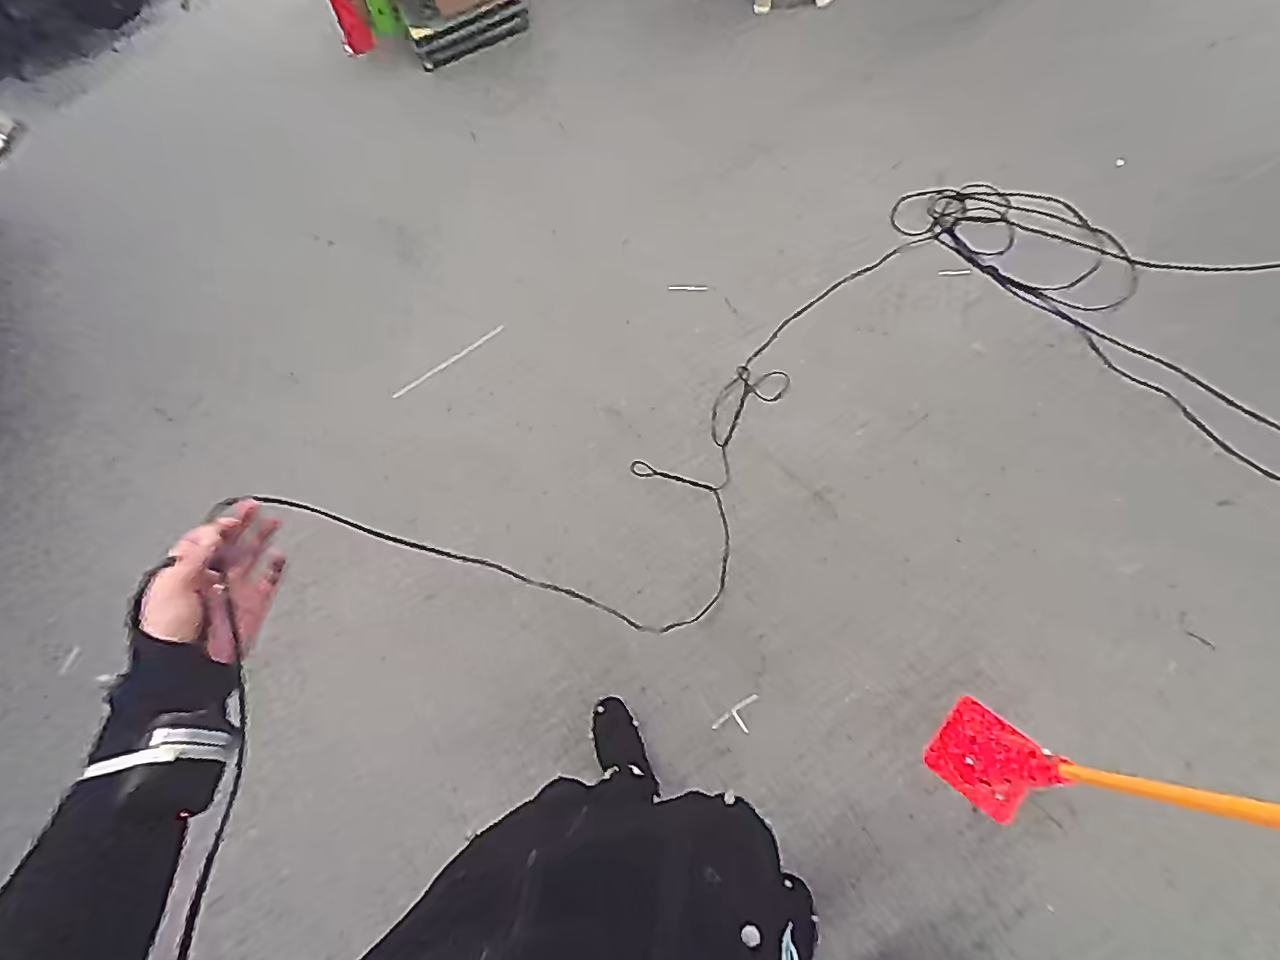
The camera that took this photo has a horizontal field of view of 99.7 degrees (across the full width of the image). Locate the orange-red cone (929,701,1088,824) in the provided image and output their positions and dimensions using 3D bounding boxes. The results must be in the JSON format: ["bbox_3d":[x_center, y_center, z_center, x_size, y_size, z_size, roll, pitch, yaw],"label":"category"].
[{"bbox_3d":[0.770,0.572,1.083,0.198,0.360,0.199,38,76,22],"label":"orange-red cone"}]
